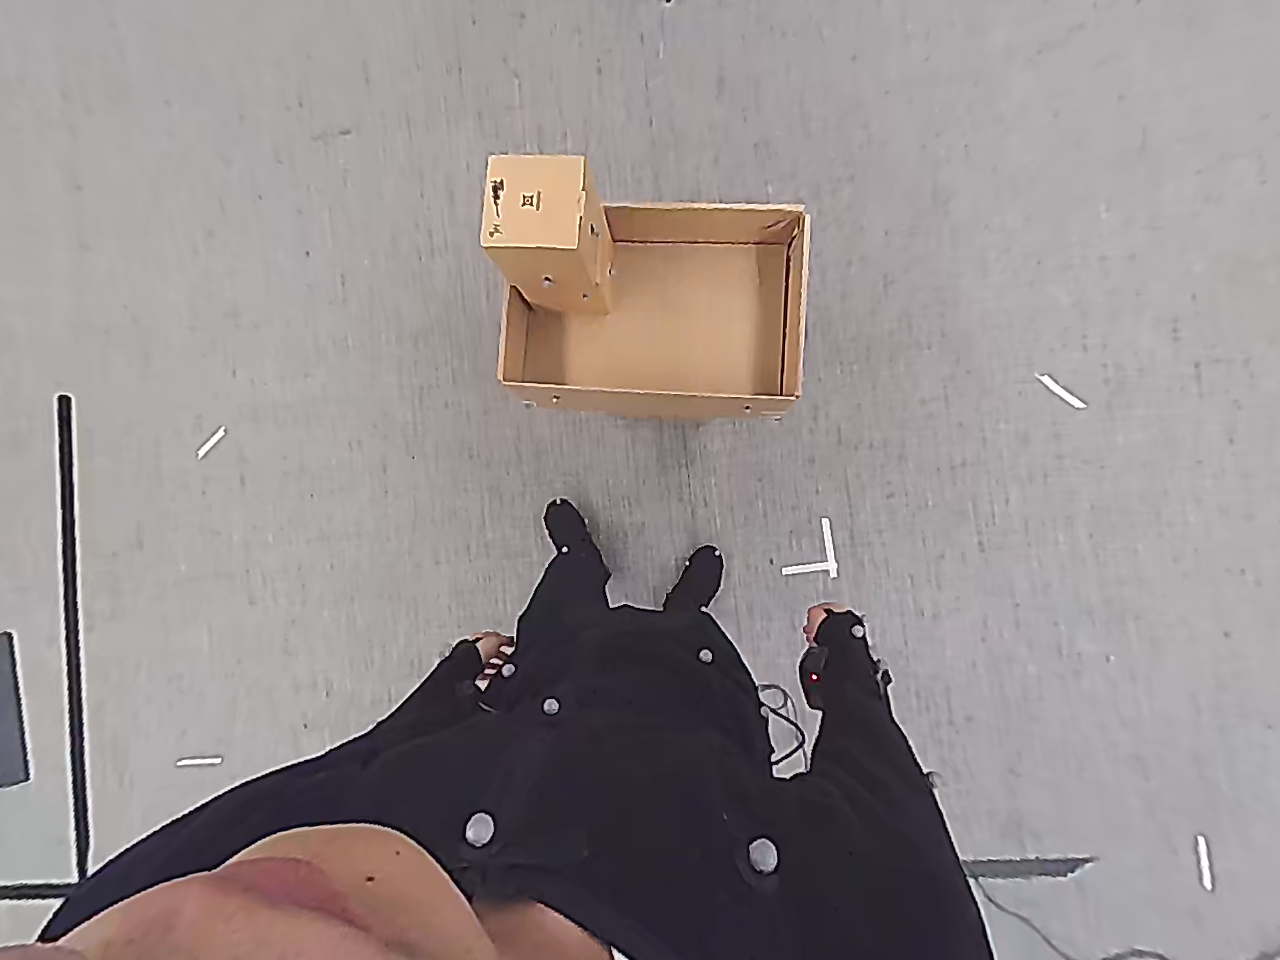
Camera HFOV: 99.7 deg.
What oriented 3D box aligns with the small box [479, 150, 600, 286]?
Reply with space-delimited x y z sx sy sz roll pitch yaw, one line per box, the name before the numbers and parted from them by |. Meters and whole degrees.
small box | -0.174 -0.471 0.994 0.179 0.176 0.168 5 87 5
